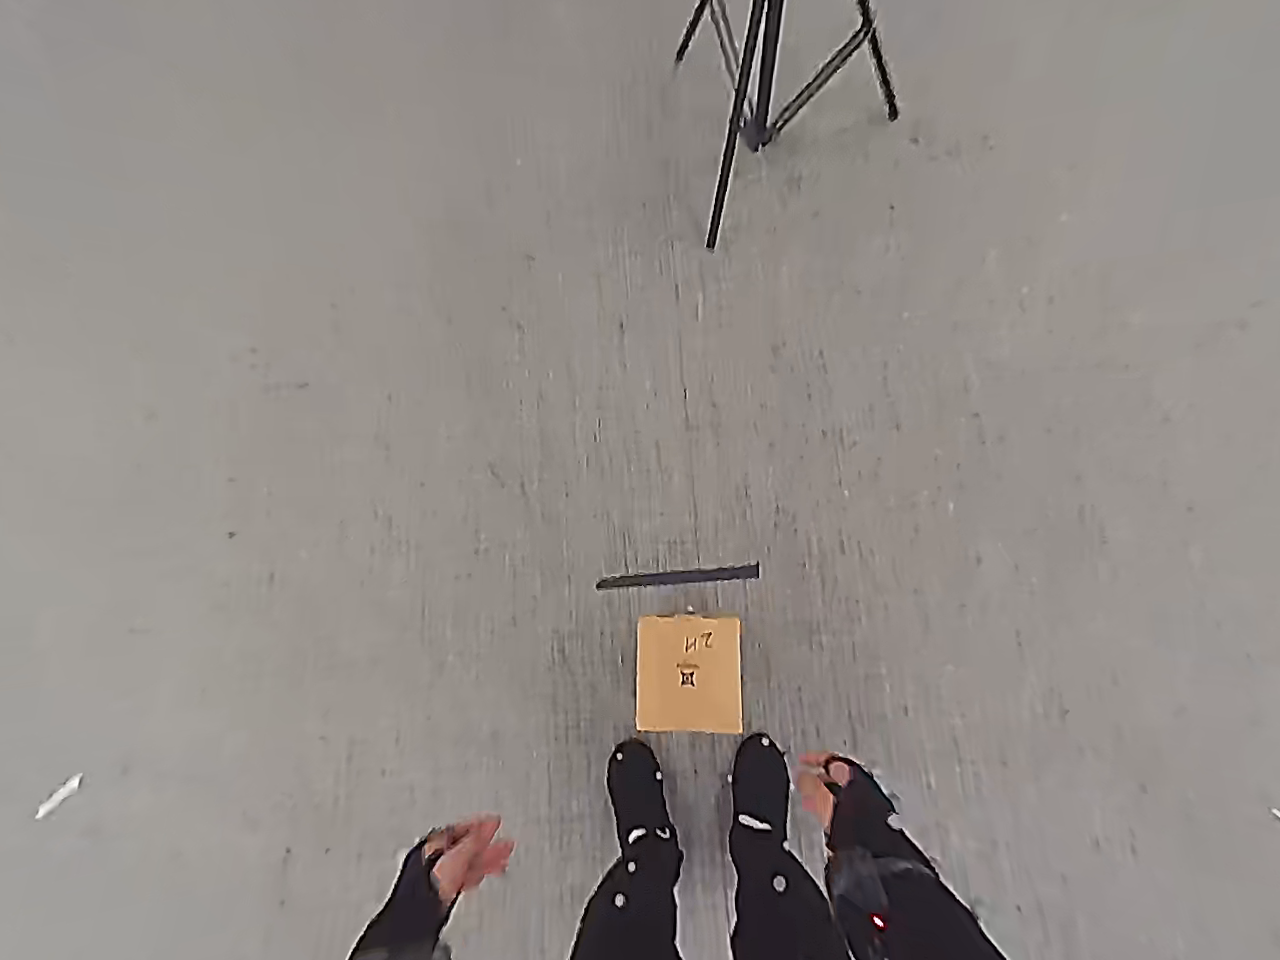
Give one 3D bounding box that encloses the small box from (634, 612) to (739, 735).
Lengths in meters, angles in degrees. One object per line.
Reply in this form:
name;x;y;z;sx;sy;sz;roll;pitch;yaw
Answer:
small box;0.083;0.320;0.924;0.168;0.176;0.179;0;77;6
